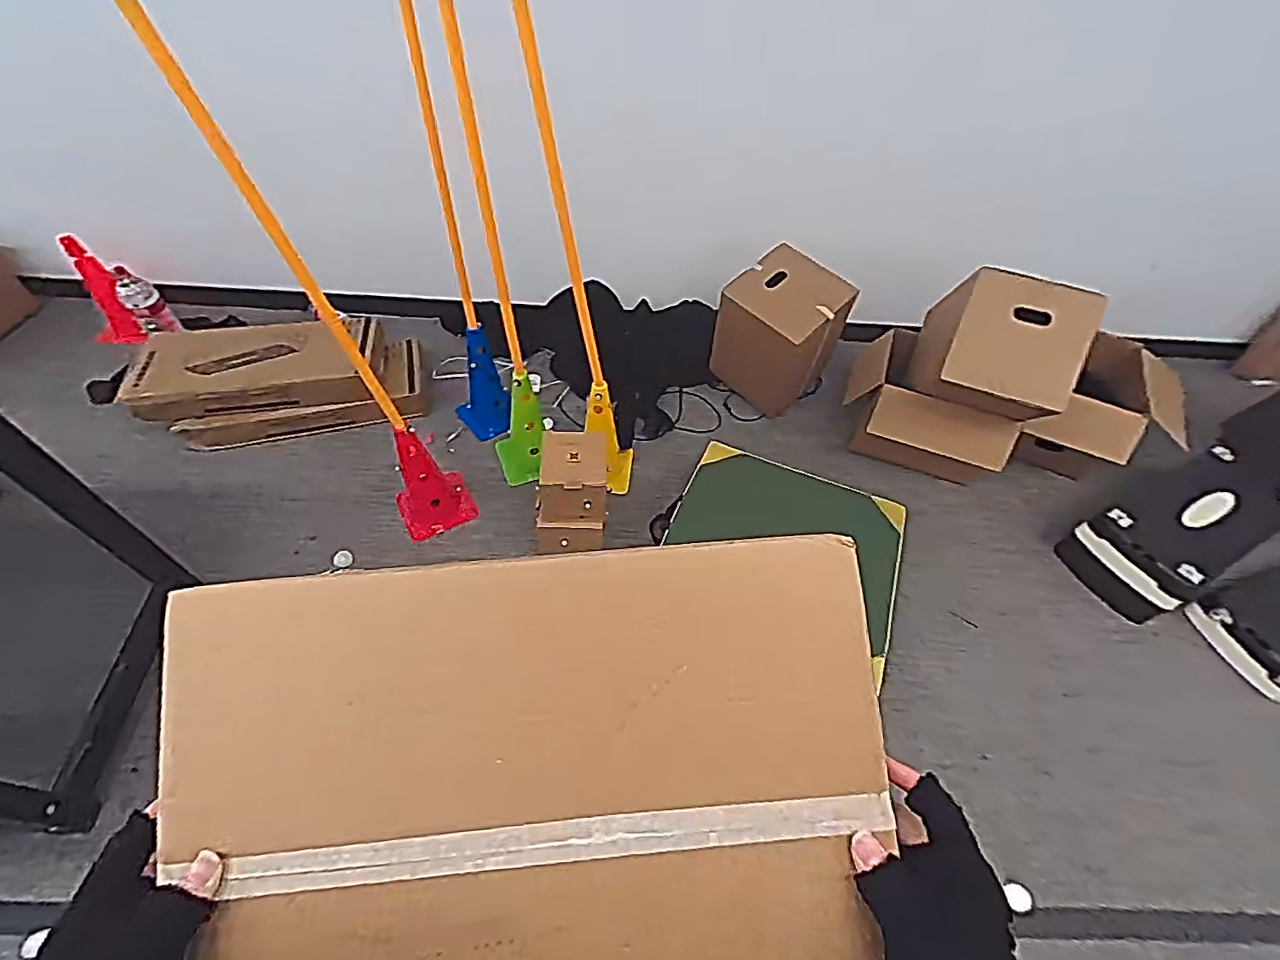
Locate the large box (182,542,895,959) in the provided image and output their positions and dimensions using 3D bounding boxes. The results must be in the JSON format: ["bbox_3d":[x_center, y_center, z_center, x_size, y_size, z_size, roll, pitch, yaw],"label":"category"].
[{"bbox_3d":[-0.063,0.230,0.460,0.408,0.320,0.320,-5,83,-1],"label":"large box"}]
